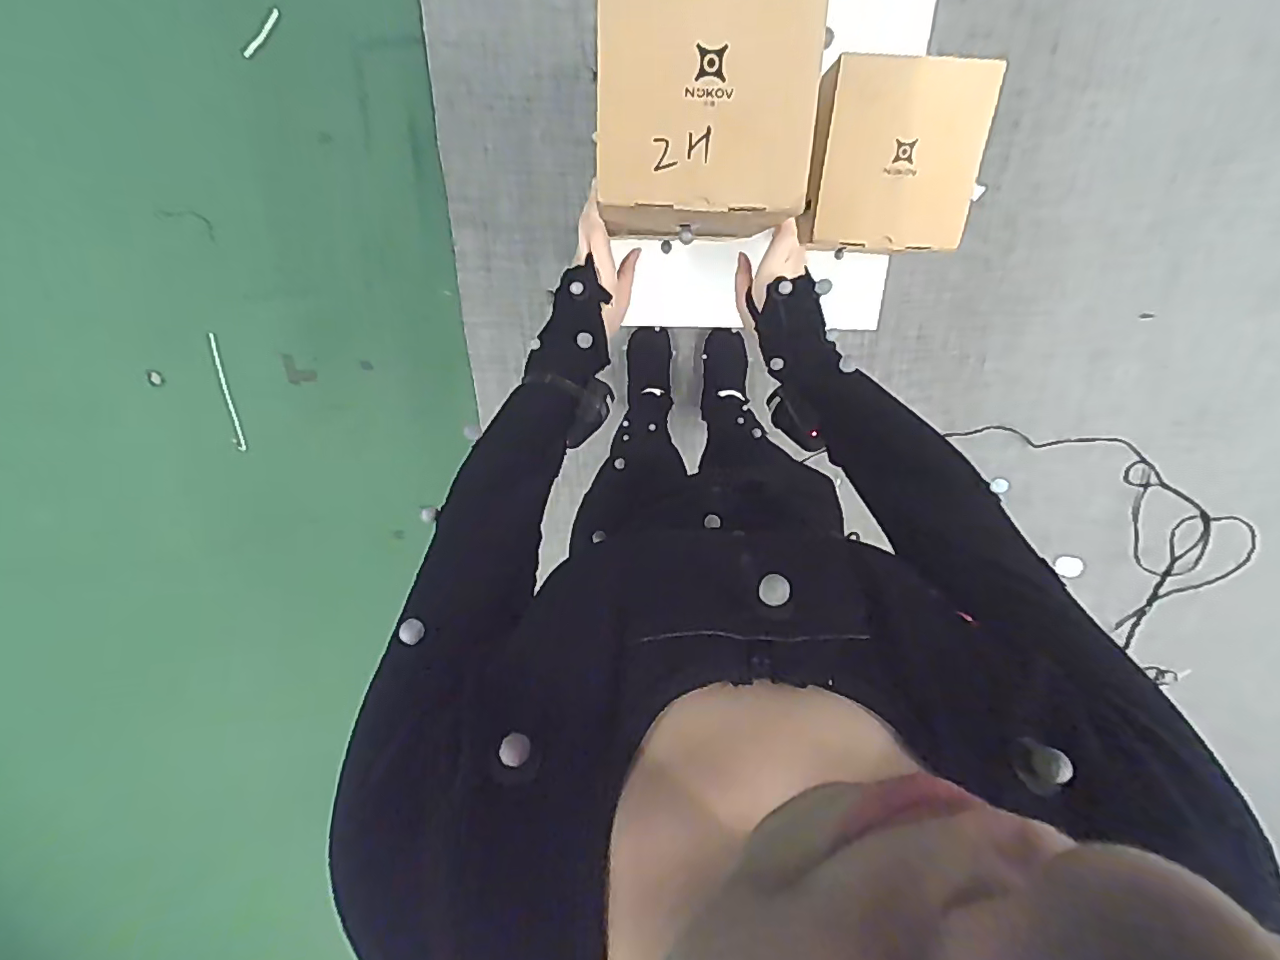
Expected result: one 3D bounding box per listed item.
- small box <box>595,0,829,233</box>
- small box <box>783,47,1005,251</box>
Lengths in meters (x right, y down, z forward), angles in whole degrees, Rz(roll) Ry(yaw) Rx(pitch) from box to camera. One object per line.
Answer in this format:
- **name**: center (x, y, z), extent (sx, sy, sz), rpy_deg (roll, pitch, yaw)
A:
- **small box**: center (0.049, -0.324, 0.473), extent (0.168, 0.176, 0.179), rpy_deg (2, 110, -1)
- **small box**: center (0.276, -0.370, 0.635), extent (0.168, 0.176, 0.179), rpy_deg (3, 113, 0)
